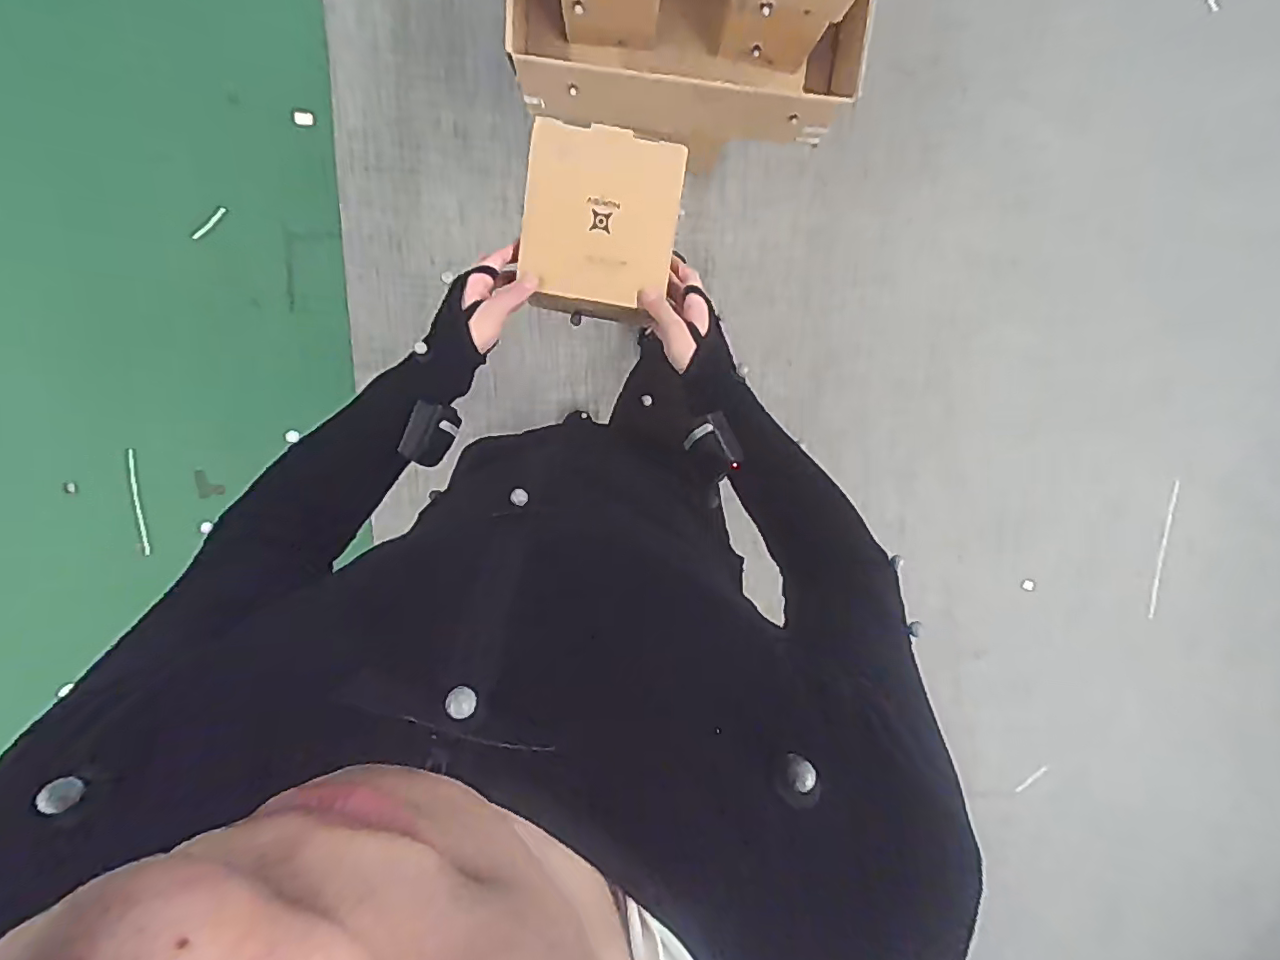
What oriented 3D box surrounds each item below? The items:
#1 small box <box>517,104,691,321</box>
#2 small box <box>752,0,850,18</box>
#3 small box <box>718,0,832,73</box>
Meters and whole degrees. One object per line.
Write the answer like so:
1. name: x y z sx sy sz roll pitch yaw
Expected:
1. small box: -0.048 -0.301 0.650 0.168 0.176 0.179 8 100 -8
2. small box: 0.256 -0.818 0.782 0.168 0.176 0.179 2 102 -4
3. small box: 0.240 -0.861 0.941 0.168 0.176 0.179 6 102 -5
